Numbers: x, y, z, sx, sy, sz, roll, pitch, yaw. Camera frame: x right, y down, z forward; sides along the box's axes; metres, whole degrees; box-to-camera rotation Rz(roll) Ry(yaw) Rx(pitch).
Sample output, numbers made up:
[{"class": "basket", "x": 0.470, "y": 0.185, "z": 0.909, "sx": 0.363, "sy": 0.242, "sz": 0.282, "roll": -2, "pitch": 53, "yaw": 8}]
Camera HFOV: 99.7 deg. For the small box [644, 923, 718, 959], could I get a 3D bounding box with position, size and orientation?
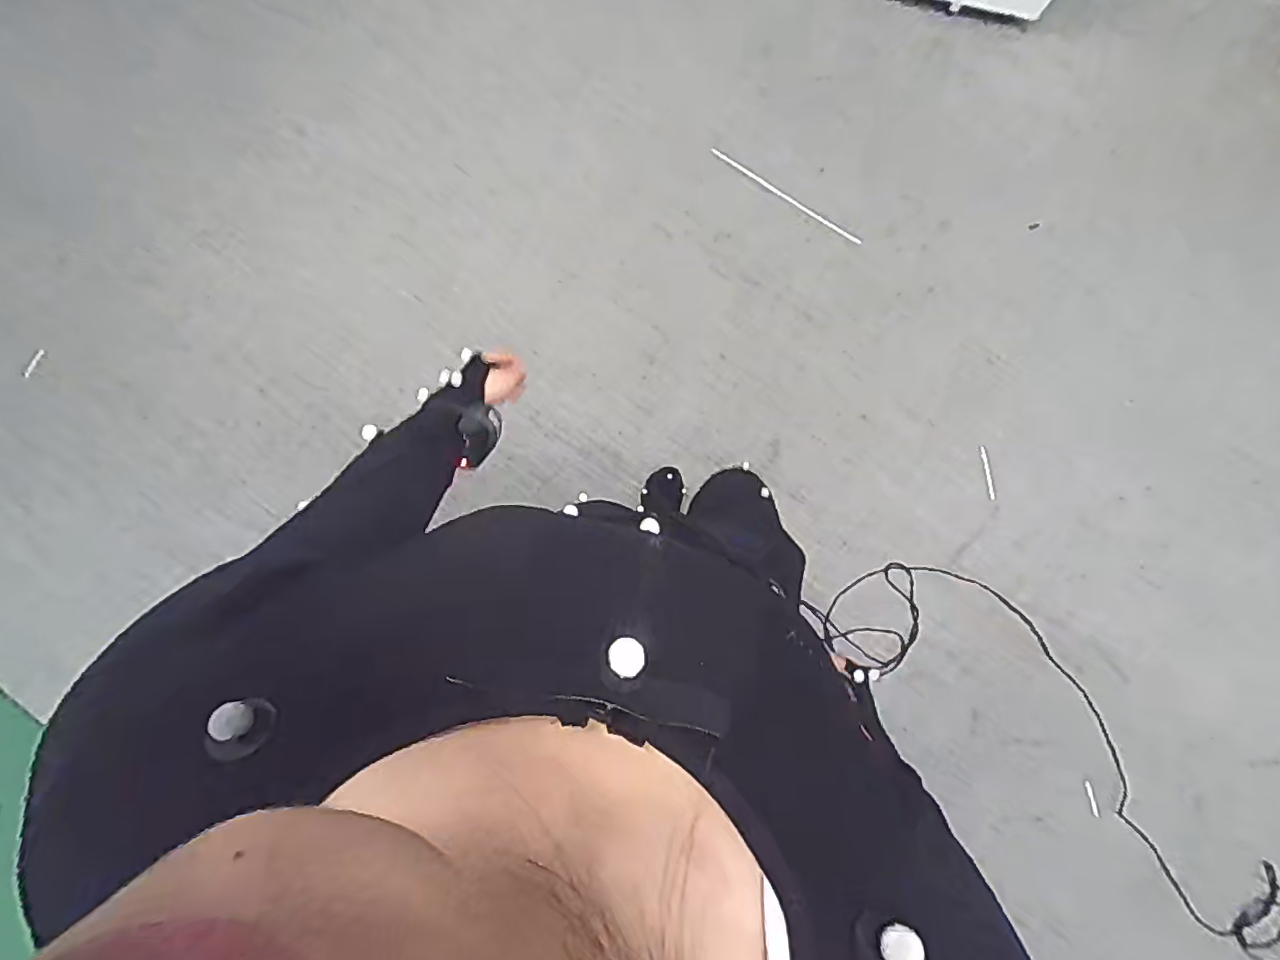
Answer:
[{"class": "small box", "x": 0.112, "y": 1.323, "z": 1.405, "sx": 0.179, "sy": 0.176, "sz": 0.168, "roll": -35, "pitch": 89, "yaw": 2}]
